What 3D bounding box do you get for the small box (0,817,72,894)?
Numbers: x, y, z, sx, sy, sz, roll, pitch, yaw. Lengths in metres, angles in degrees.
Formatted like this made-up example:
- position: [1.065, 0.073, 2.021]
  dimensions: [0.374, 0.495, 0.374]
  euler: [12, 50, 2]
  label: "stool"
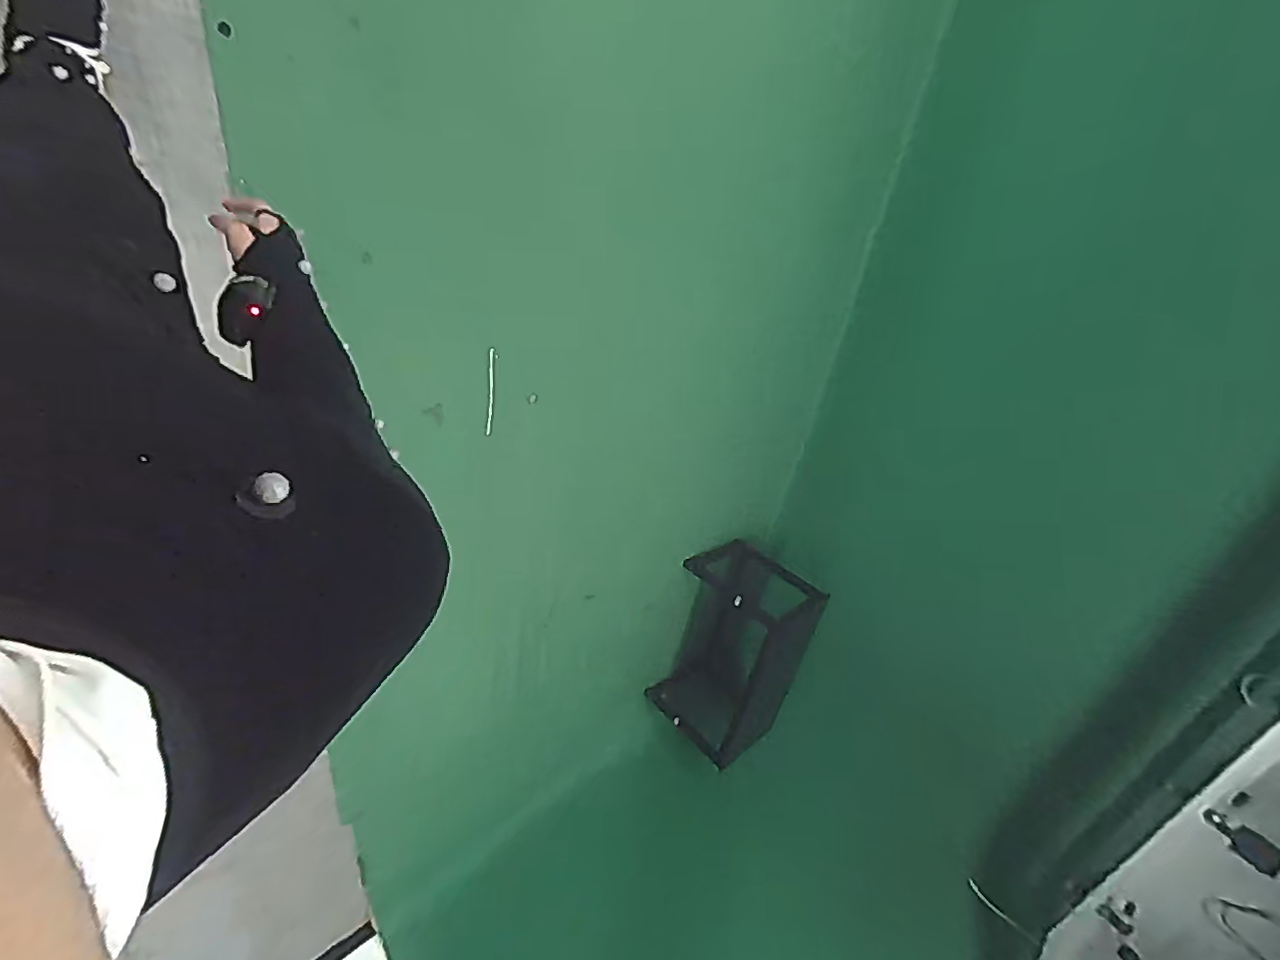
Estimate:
- position: [-1.654, 1.042, 1.429]
  dimensions: [0.168, 0.176, 0.179]
  euler: [-23, 132, -37]
  label: "small box"
